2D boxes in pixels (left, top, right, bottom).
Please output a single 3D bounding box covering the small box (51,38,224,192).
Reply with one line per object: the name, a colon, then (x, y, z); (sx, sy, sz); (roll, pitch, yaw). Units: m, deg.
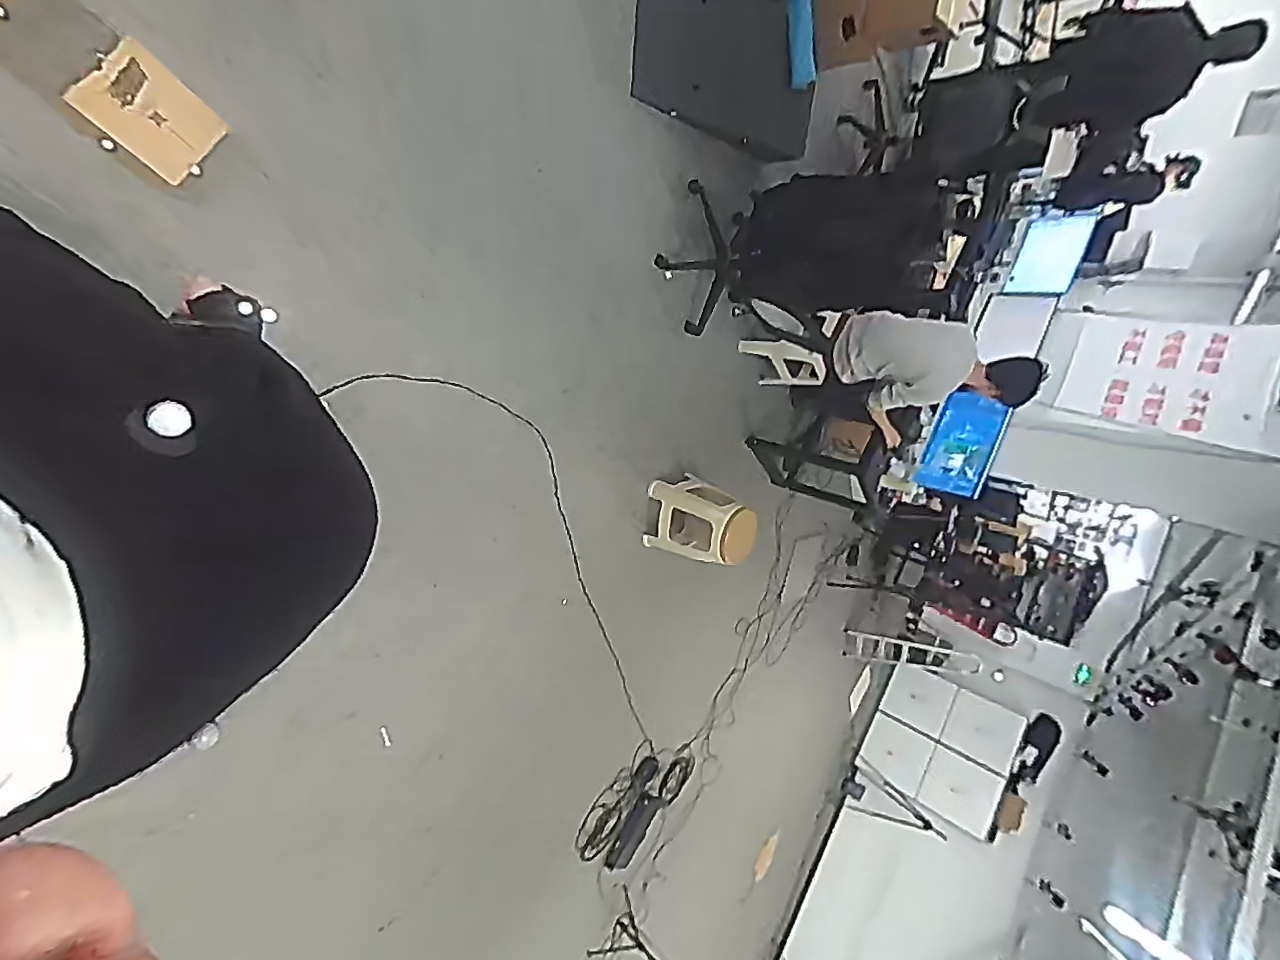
small box: (-0.952, -0.679, 1.027); (0.168, 0.176, 0.179); (-56, 138, -15)
